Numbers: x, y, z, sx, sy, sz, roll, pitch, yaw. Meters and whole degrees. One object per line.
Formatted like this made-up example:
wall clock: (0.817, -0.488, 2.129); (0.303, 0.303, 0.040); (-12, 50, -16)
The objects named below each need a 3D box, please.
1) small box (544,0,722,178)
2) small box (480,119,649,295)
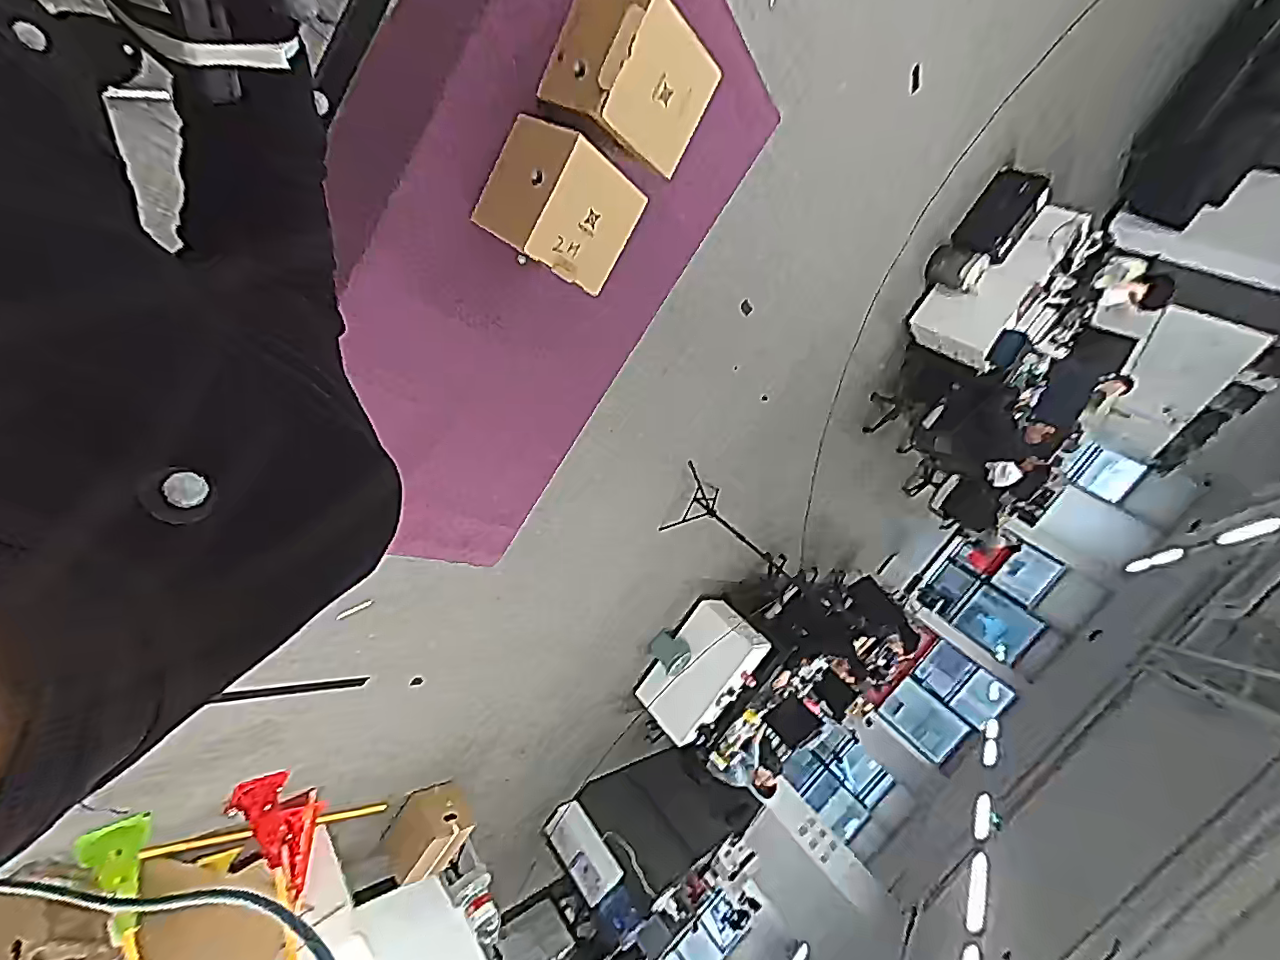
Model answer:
small box: (-0.015, -0.602, 0.824); (0.179, 0.176, 0.168); (8, 118, -52)
small box: (-0.125, -0.434, 0.862); (0.168, 0.176, 0.179); (13, 114, -53)
